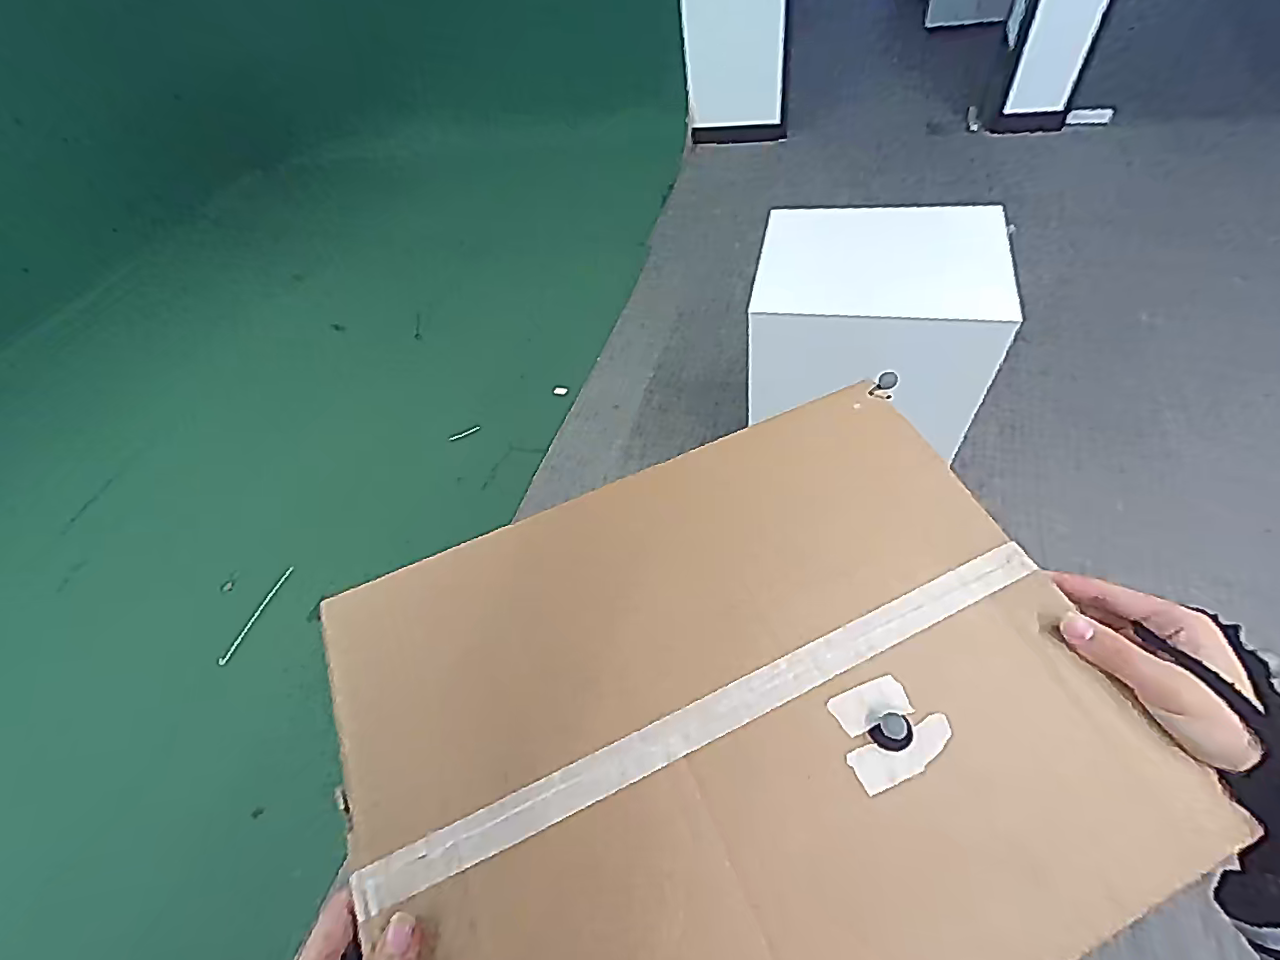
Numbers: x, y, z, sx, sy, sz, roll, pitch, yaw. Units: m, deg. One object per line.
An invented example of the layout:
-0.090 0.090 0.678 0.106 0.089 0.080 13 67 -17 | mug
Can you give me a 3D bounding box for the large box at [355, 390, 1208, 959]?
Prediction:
0.059 0.196 0.441 0.408 0.320 0.320 -22 62 -11 | large box
